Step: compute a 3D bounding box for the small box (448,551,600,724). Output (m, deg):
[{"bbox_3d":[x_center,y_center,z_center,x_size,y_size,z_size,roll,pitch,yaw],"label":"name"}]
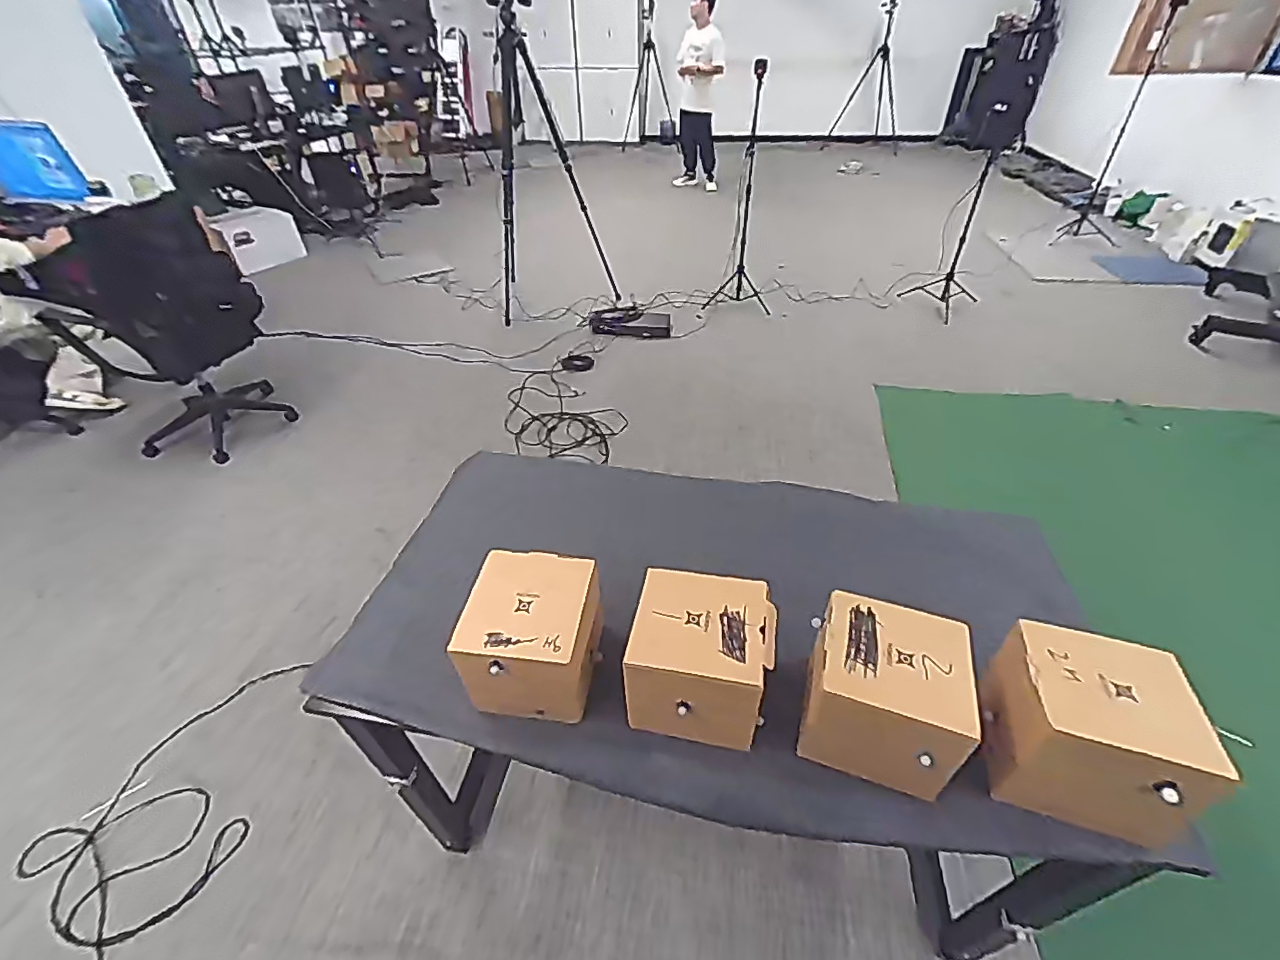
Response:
[{"bbox_3d":[-0.157,0.231,0.804,0.168,0.176,0.179,4,41,8],"label":"small box"}]
